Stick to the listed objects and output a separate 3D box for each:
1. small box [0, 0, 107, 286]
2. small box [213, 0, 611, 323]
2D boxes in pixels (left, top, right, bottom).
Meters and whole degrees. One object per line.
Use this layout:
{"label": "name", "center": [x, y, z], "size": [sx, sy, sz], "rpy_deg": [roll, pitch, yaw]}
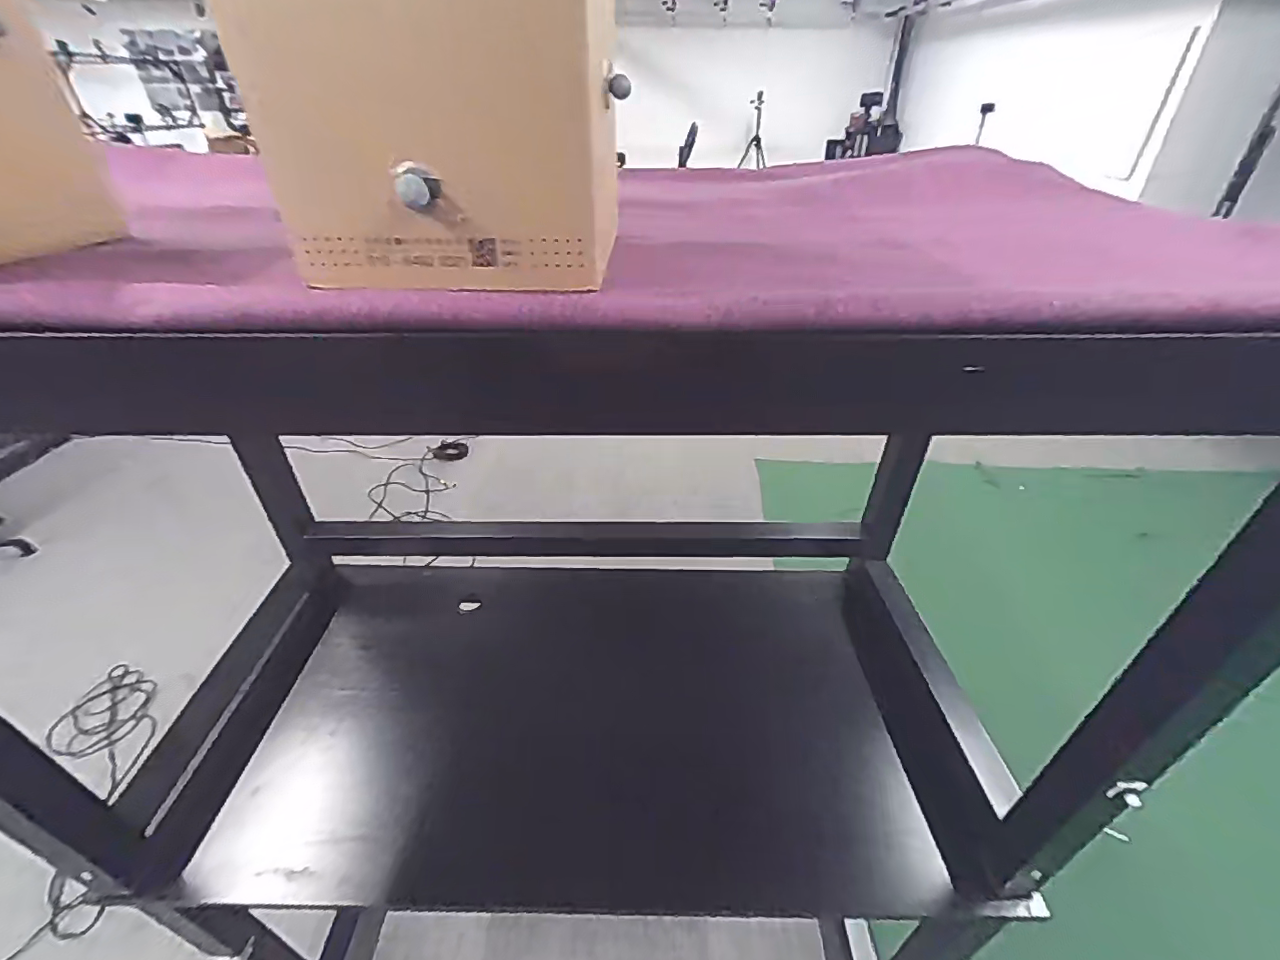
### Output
{"label": "small box", "center": [-0.478, -0.200, 0.313], "size": [0.168, 0.176, 0.179], "rpy_deg": [1, 34, 0]}
{"label": "small box", "center": [-0.105, -0.206, 0.325], "size": [0.168, 0.176, 0.179], "rpy_deg": [1, 37, 1]}
